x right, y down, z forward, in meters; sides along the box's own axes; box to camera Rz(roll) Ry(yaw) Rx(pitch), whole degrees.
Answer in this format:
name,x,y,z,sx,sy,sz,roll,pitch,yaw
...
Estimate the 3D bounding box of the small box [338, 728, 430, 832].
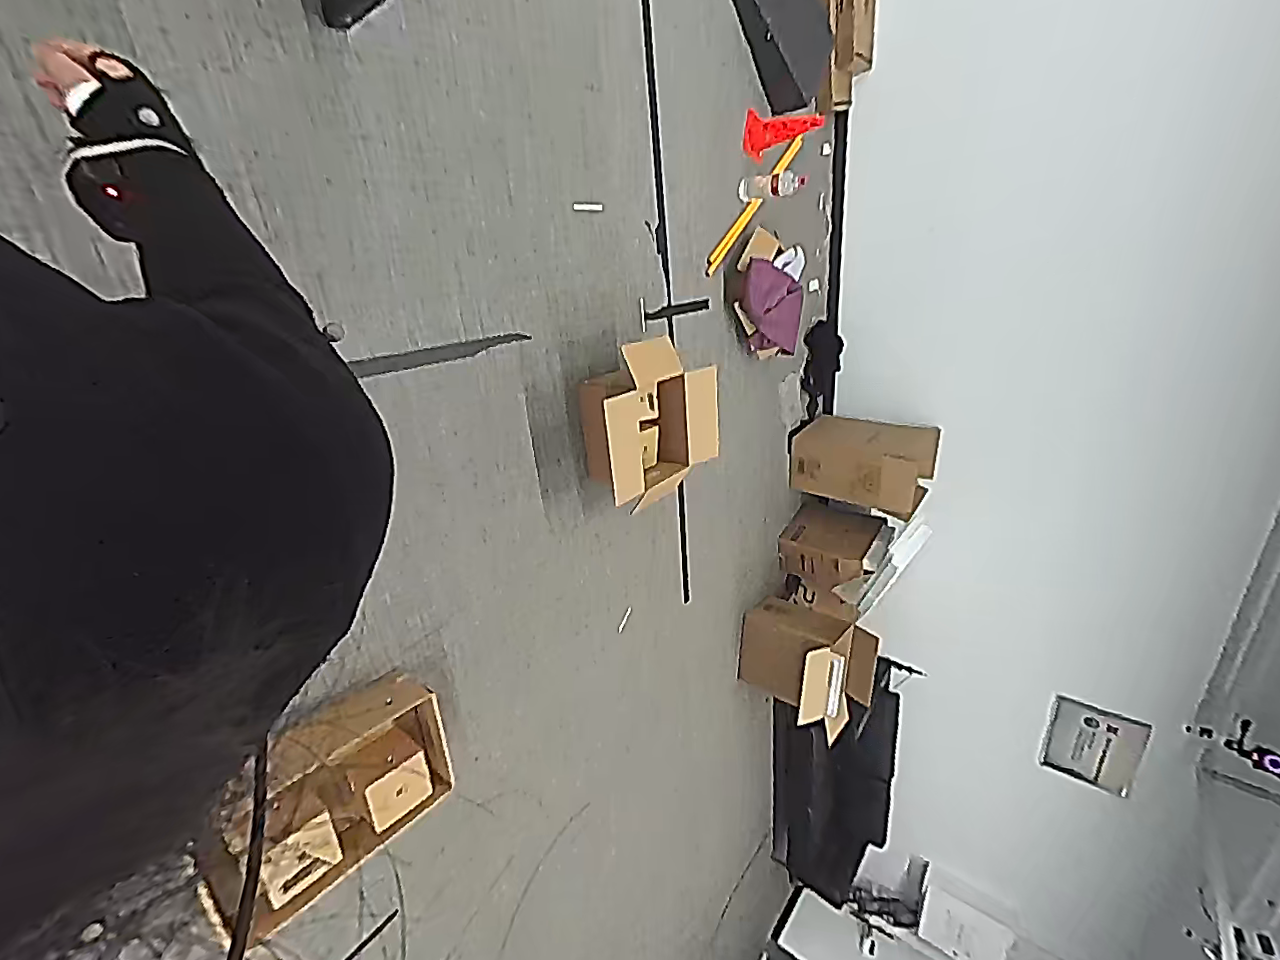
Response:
name,x,y,z,sx,sy,sz,roll,pitch,yaw
small box,-0.761,0.881,1.609,0.179,0.176,0.168,-23,116,-46
